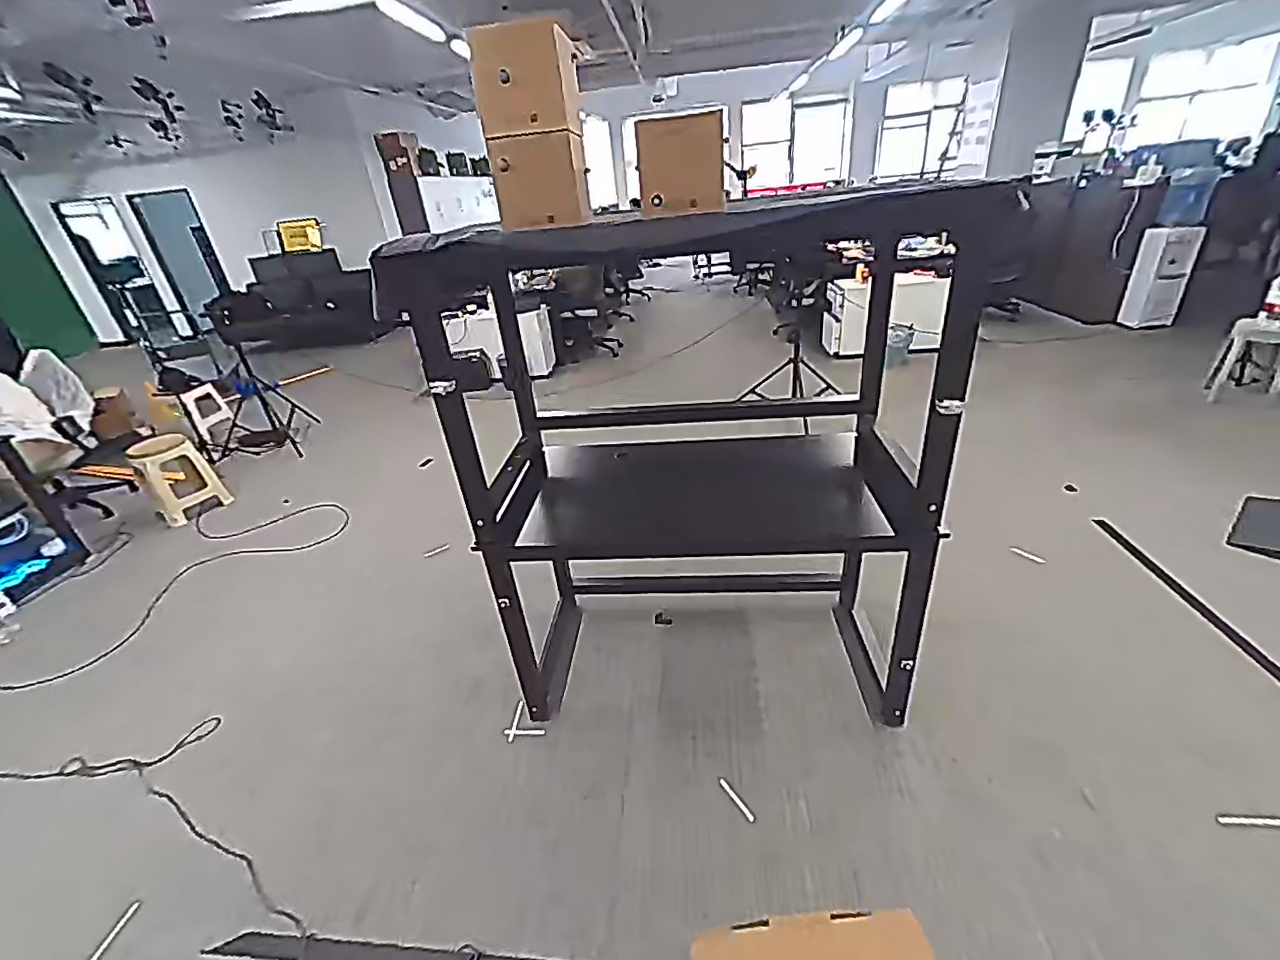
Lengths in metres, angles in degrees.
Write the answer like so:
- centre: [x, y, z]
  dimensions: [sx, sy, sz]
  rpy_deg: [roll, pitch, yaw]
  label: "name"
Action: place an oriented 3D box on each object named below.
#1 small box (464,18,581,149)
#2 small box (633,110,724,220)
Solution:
- centre: [-0.216, -0.757, 1.051]
  dimensions: [0.168, 0.176, 0.179]
  rpy_deg: [-2, 27, 7]
  label: "small box"
- centre: [0.084, -0.627, 1.093]
  dimensions: [0.168, 0.176, 0.179]
  rpy_deg: [-2, 27, 7]
  label: "small box"
